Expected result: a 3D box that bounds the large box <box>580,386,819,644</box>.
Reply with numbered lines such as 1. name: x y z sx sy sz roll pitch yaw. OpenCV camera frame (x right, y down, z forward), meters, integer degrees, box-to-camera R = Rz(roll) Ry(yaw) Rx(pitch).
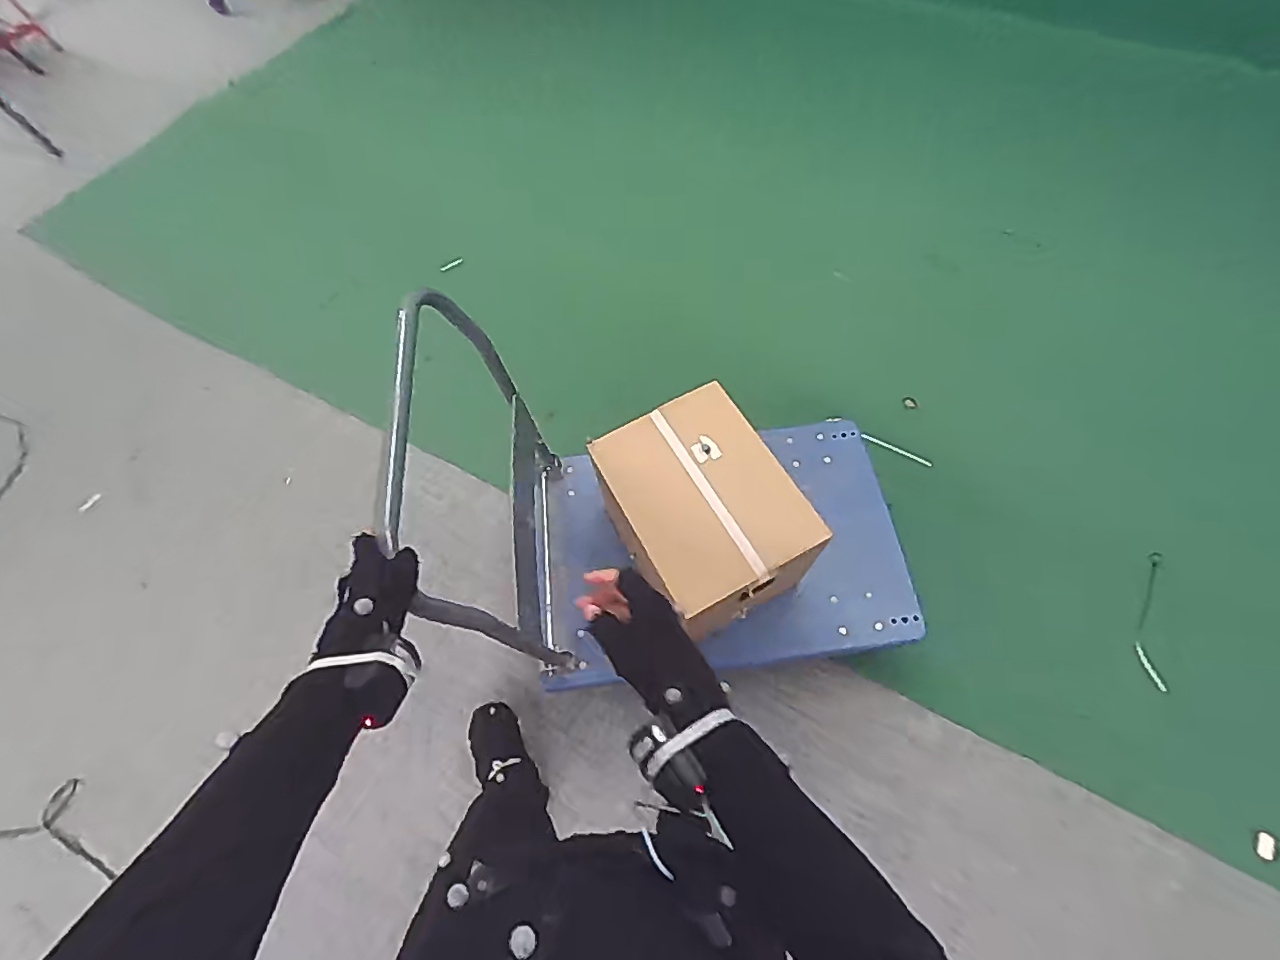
1. large box: 0.117 0.084 1.180 0.320 0.320 0.408 -27 64 -9
